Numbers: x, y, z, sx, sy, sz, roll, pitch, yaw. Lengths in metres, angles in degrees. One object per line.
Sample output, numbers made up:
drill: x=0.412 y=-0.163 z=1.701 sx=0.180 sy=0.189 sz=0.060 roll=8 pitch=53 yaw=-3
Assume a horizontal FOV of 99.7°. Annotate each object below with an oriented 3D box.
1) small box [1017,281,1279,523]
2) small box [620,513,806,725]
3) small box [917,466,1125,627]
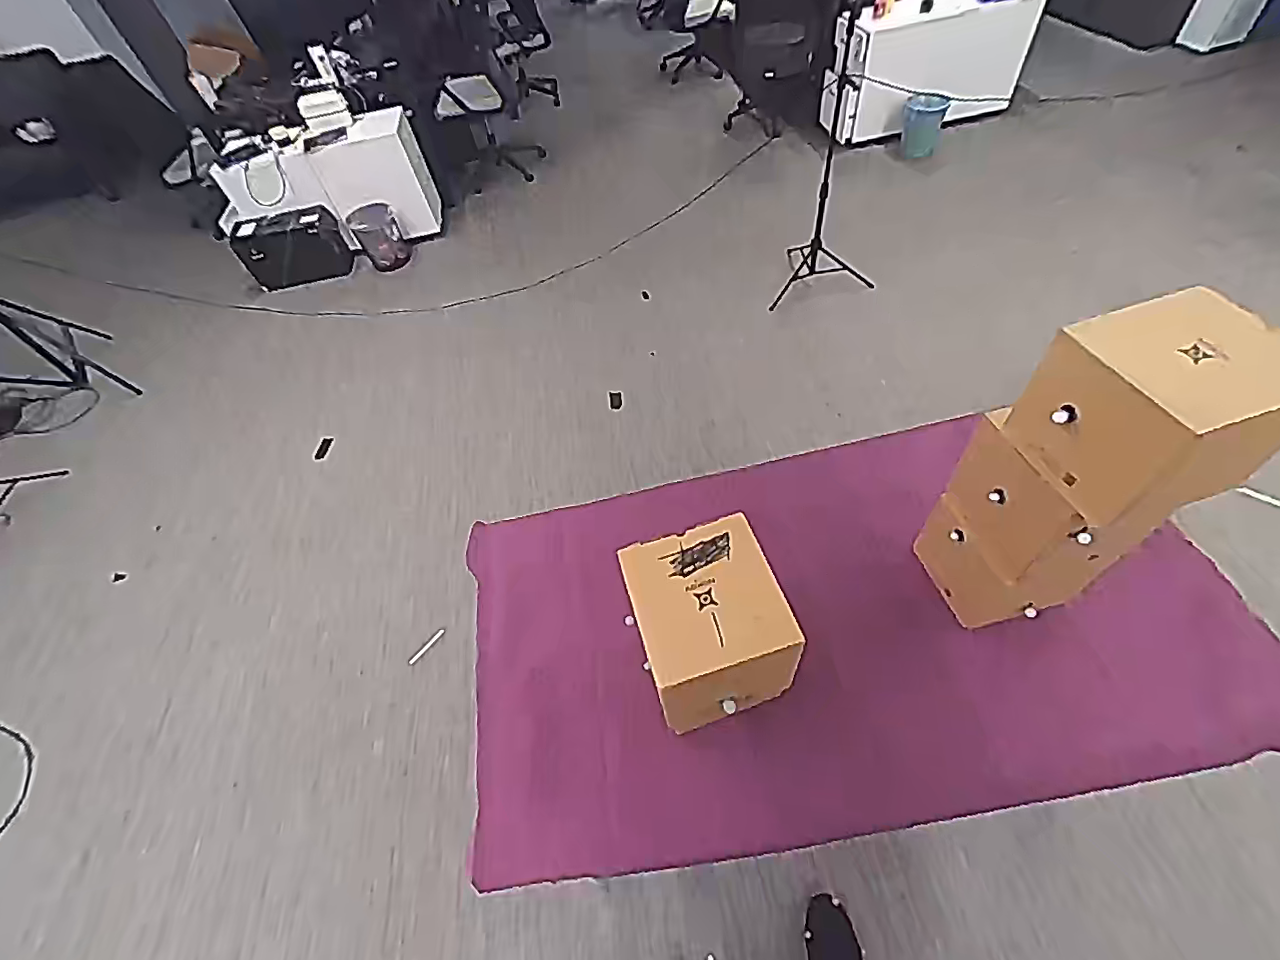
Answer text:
small box: x=0.549 y=-0.077 z=0.579 sx=0.179 sy=0.176 sz=0.168 roll=-17 pitch=52 yaw=-4
small box: x=0.082 y=0.174 z=0.666 sx=0.168 sy=0.176 sz=0.179 roll=-17 pitch=53 yaw=-4
small box: x=0.576 y=0.108 z=0.848 sx=0.179 sy=0.176 sz=0.168 roll=-15 pitch=52 yaw=-3
